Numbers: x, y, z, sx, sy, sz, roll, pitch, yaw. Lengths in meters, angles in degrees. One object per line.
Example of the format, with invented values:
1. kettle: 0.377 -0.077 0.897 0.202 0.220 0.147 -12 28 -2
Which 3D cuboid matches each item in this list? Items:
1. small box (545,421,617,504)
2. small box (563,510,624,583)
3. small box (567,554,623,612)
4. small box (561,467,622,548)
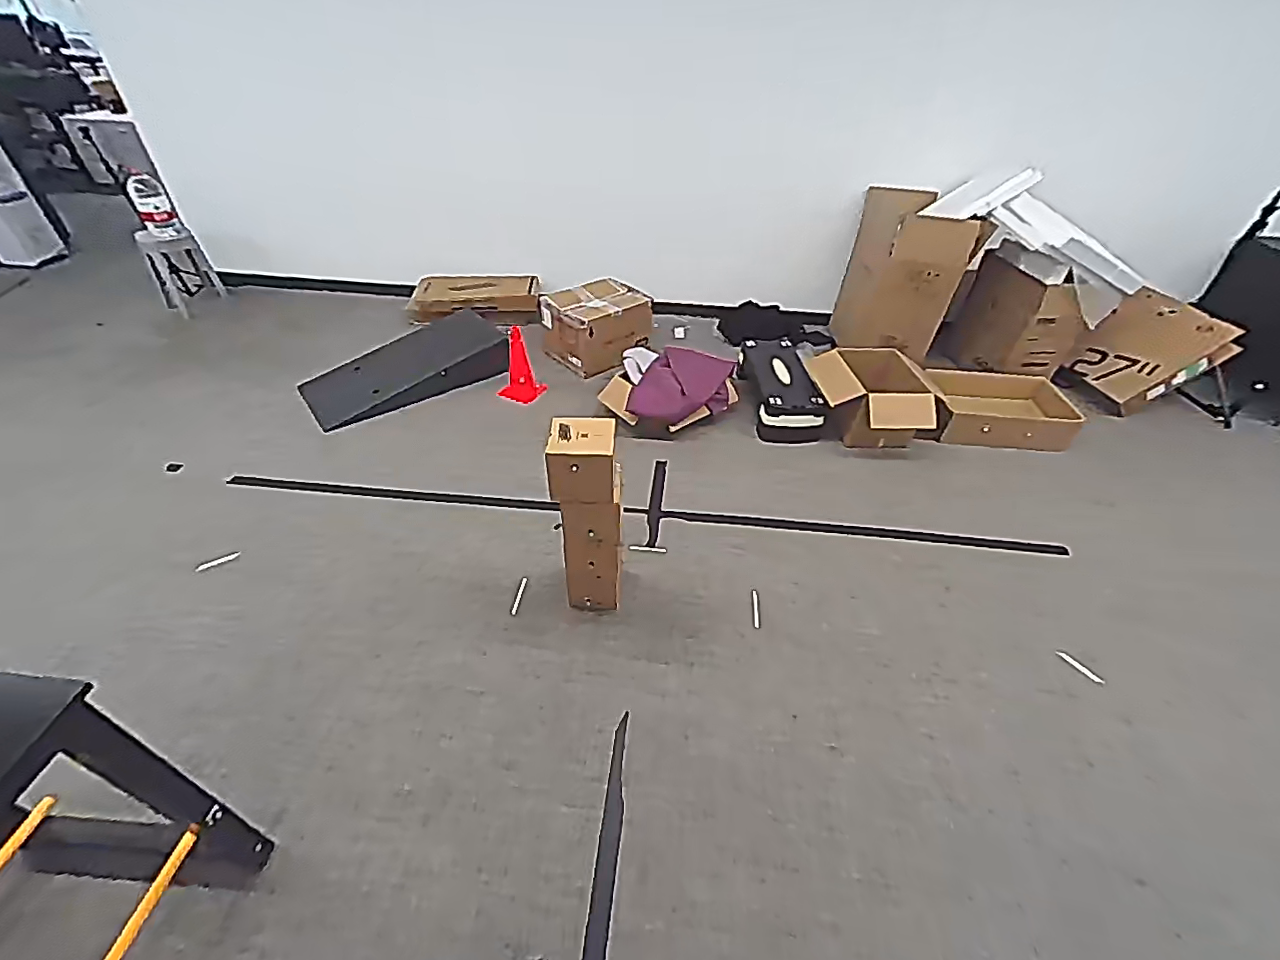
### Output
1. small box: -0.155 -0.047 1.481 0.179 0.176 0.168 1 40 -1
2. small box: -0.140 0.204 1.695 0.168 0.176 0.179 3 41 3
3. small box: -0.147 0.318 1.814 0.168 0.176 0.179 2 42 2
4. small box: -0.138 0.079 1.587 0.168 0.176 0.179 -1 40 -1
